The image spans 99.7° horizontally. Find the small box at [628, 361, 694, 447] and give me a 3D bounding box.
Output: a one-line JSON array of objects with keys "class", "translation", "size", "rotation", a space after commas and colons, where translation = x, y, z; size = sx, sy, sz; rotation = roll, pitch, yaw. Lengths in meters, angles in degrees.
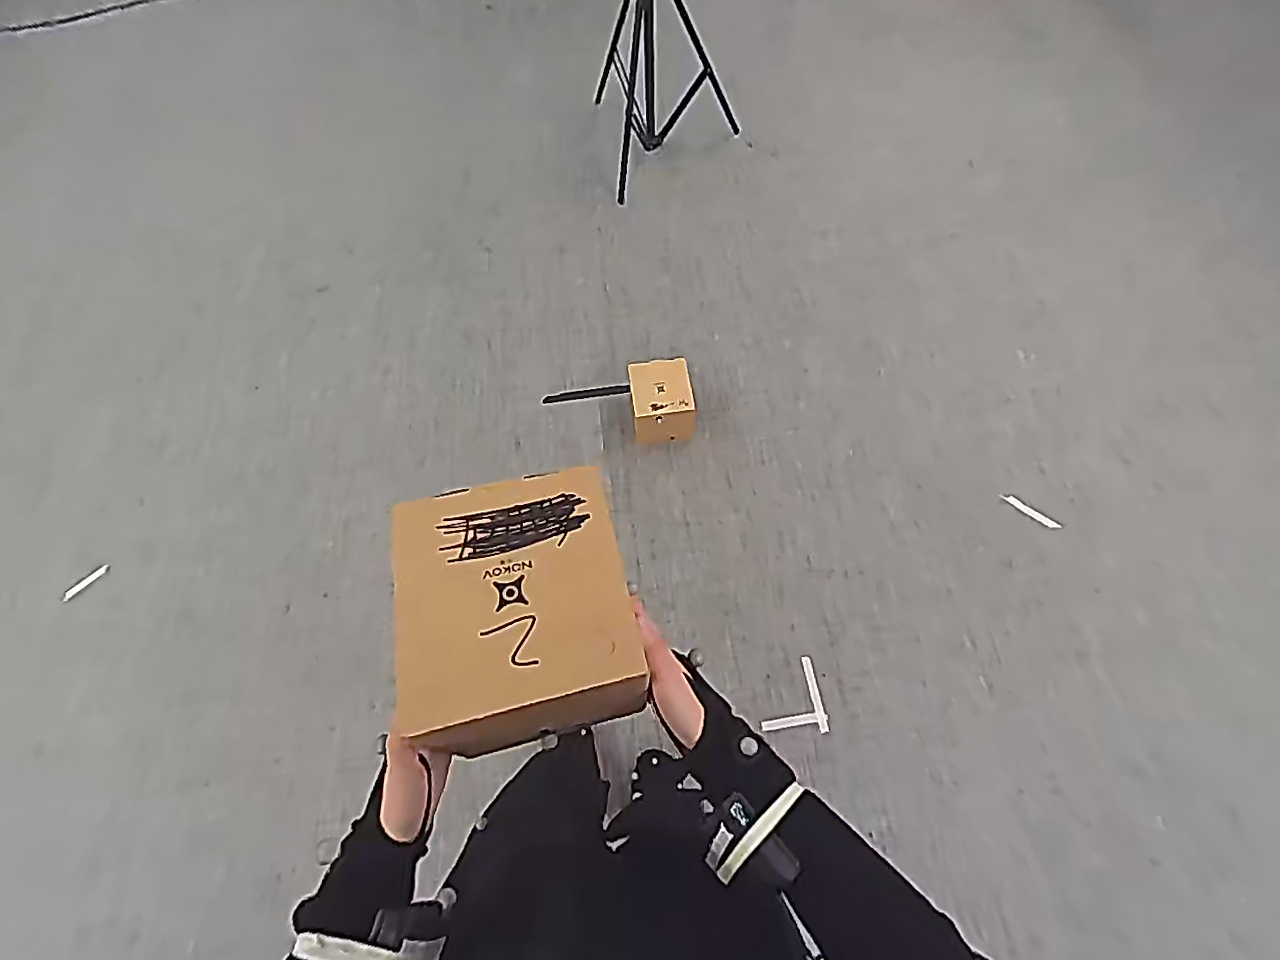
[{"class": "small box", "translation": [0.058, -0.216, 1.564], "size": [0.168, 0.176, 0.179], "rotation": [-8, 65, -2]}]
